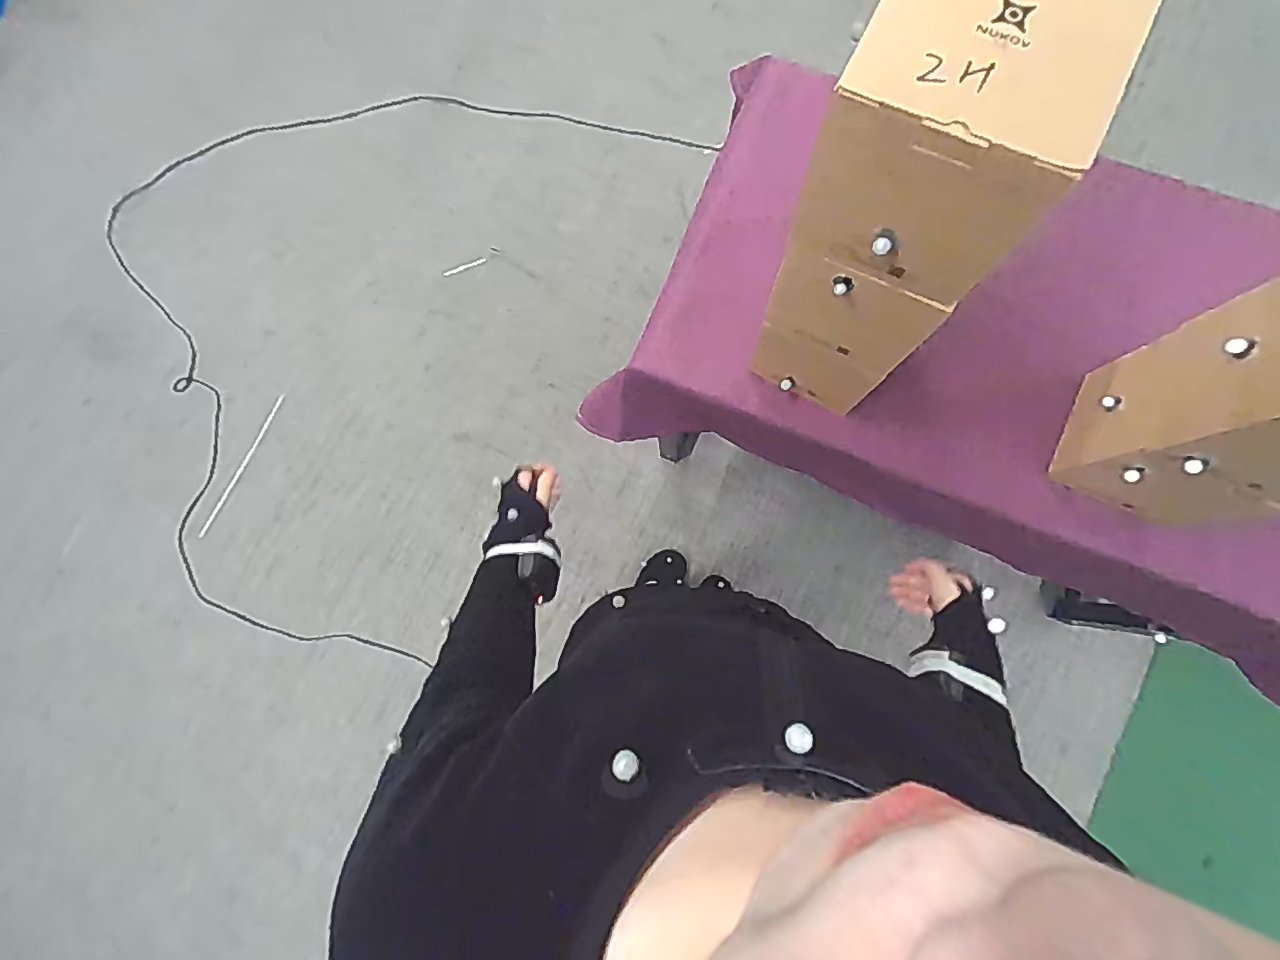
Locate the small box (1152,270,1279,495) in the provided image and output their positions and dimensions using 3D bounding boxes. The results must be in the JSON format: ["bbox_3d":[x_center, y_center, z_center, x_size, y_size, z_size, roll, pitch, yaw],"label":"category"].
[{"bbox_3d":[0.675,-0.096,0.538,0.168,0.176,0.179,22,82,7],"label":"small box"}]

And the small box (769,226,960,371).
[{"bbox_3d":[0.257,-0.252,0.596,0.168,0.176,0.179,27,83,10],"label":"small box"}]

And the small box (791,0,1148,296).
[{"bbox_3d":[0.240,-0.287,0.436,0.168,0.176,0.179,26,83,9],"label":"small box"}]

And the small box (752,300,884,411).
[{"bbox_3d":[0.270,-0.225,0.758,0.168,0.176,0.179,28,84,9],"label":"small box"}]
